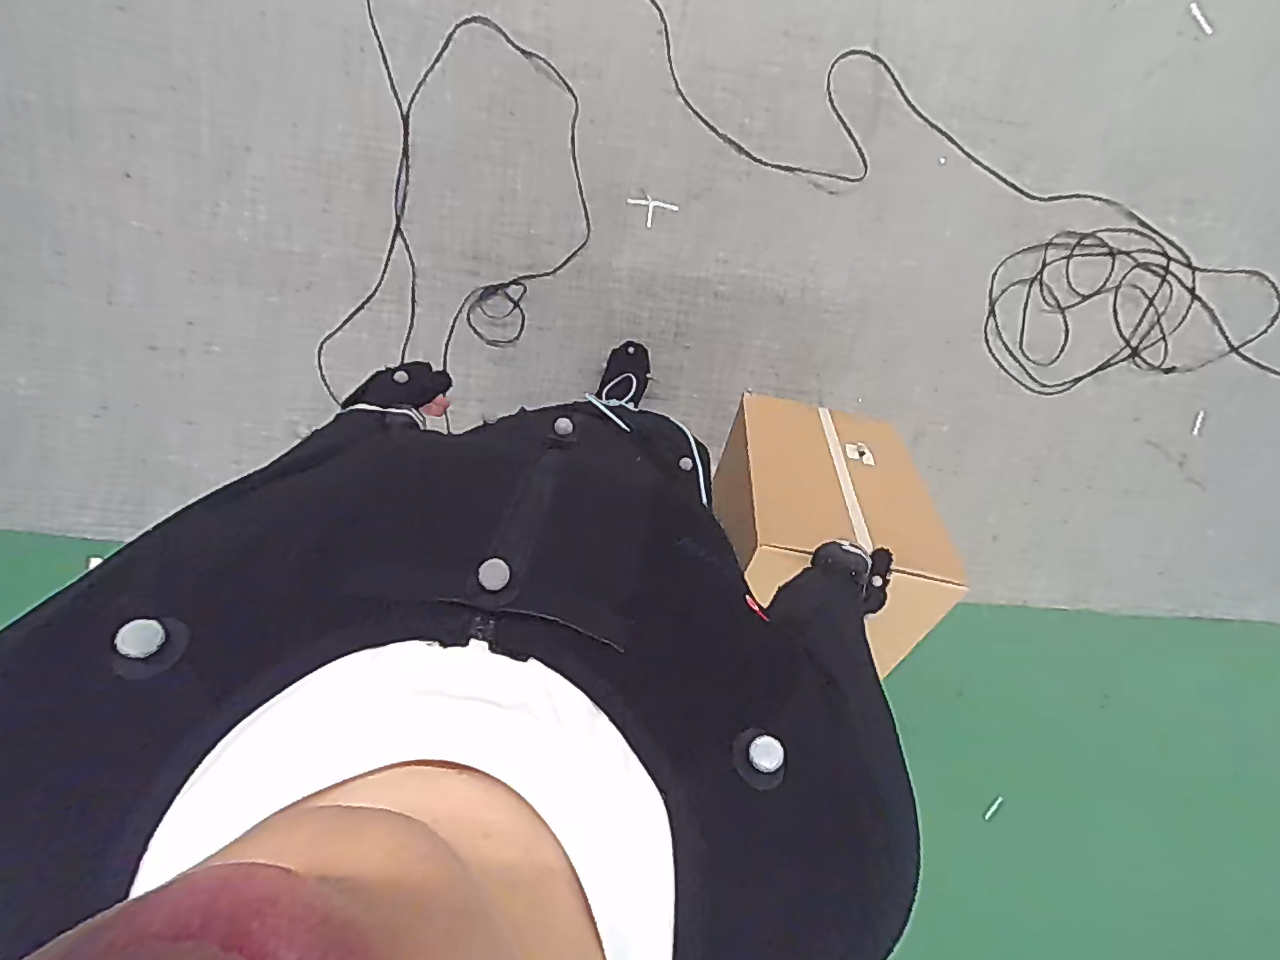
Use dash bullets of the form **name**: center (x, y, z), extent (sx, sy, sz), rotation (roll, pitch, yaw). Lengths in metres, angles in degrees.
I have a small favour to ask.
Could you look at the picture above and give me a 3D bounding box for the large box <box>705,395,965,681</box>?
- **large box**: center (0.308, 0.100, 1.007), extent (0.320, 0.408, 0.320), rotation (13, 130, -3)
